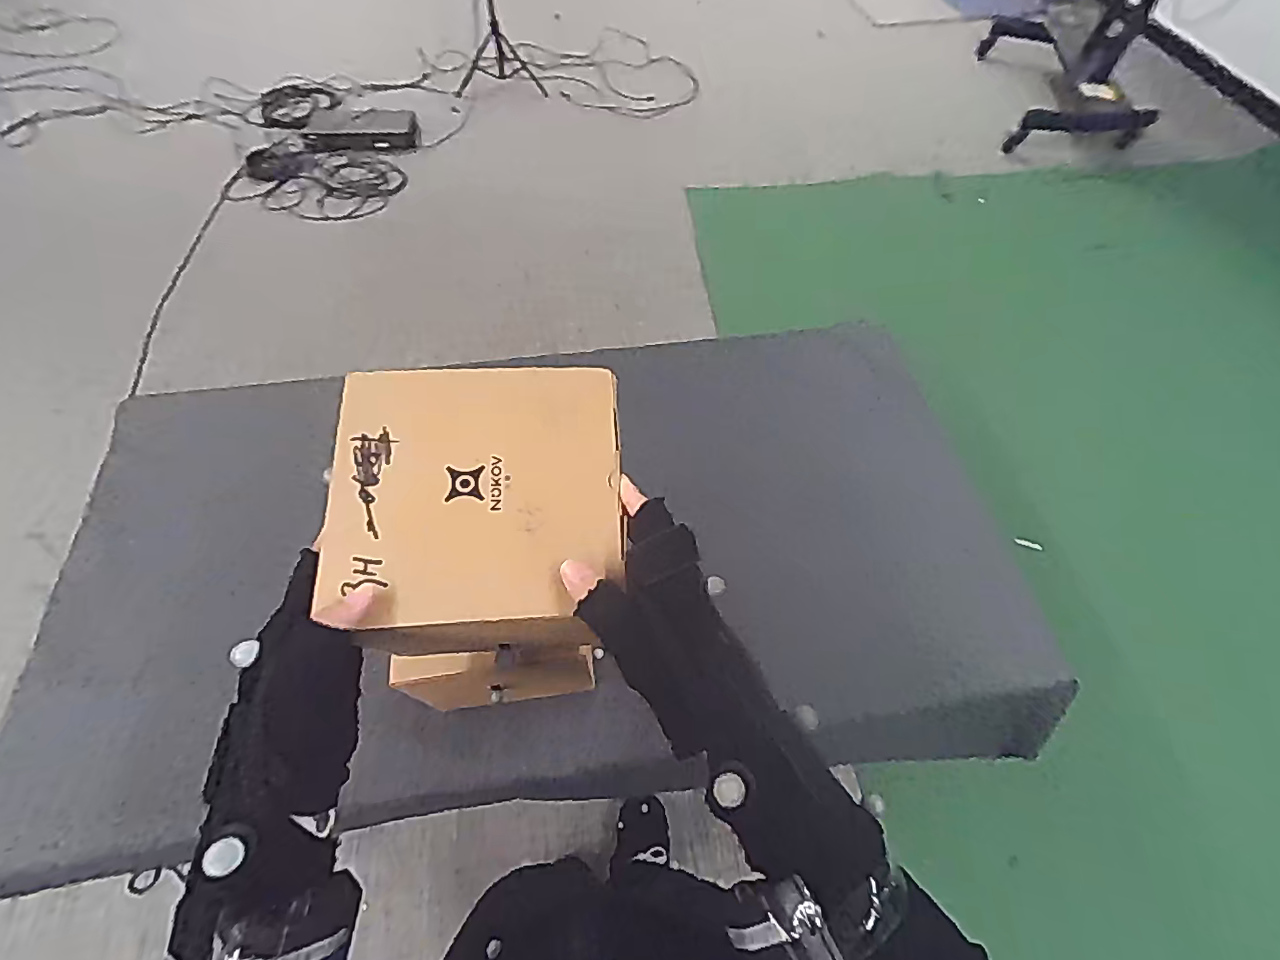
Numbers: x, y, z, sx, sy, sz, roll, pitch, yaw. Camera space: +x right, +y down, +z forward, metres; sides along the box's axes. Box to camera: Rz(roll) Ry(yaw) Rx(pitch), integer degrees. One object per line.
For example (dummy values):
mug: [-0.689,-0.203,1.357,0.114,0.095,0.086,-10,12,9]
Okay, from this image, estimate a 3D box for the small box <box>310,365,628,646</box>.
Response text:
small box: [-0.106,0.031,0.406,0.179,0.176,0.168,-1,68,-7]

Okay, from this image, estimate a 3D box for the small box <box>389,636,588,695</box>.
small box: [-0.148,0.132,0.598,0.179,0.176,0.168,-4,58,-4]
